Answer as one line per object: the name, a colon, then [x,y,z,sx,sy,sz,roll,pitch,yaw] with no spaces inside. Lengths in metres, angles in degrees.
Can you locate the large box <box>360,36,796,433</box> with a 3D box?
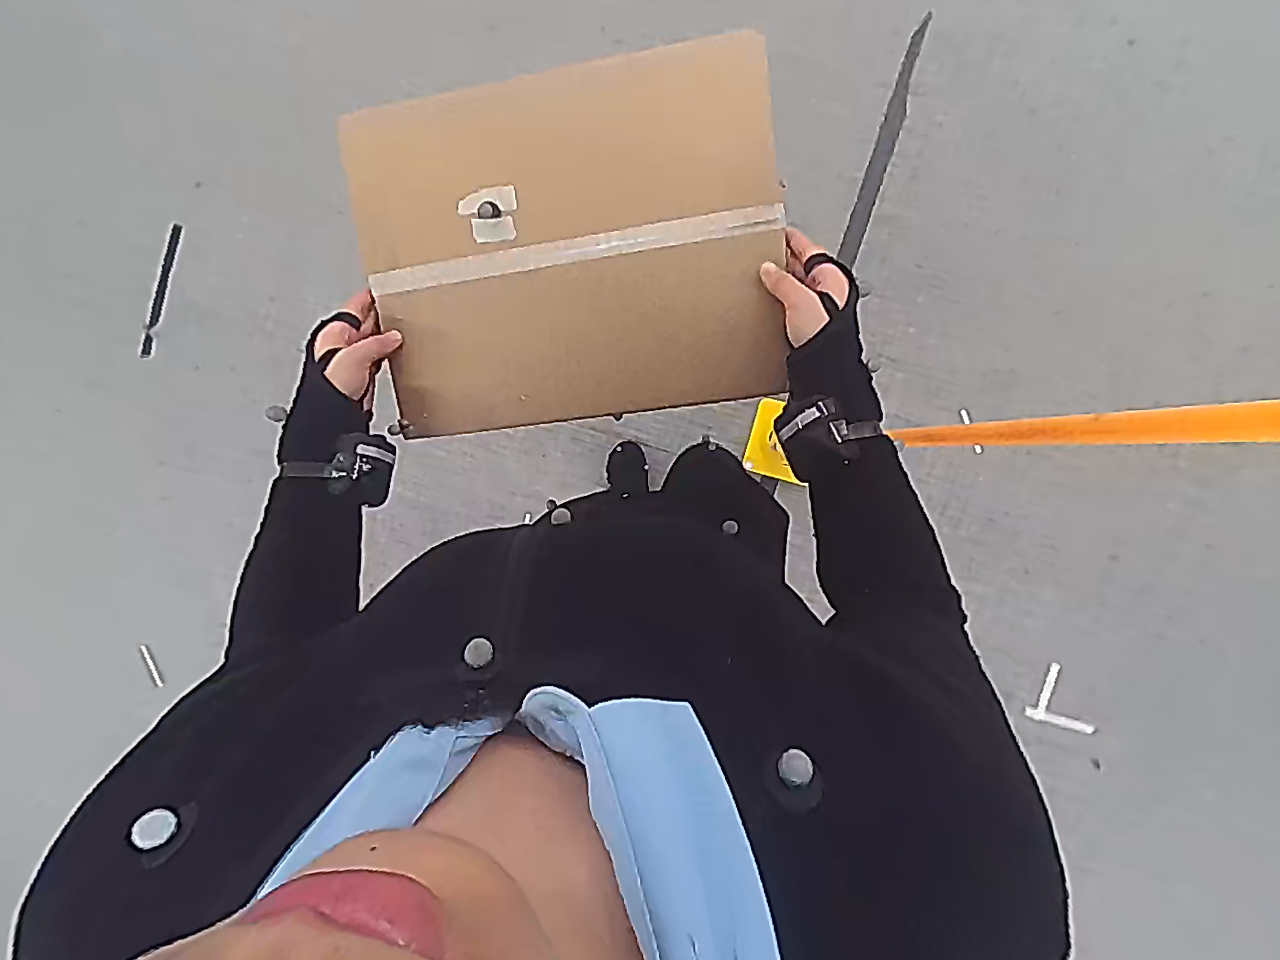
large box: [-0.044,-0.251,0.674,0.408,0.320,0.320,-6,100,8]
